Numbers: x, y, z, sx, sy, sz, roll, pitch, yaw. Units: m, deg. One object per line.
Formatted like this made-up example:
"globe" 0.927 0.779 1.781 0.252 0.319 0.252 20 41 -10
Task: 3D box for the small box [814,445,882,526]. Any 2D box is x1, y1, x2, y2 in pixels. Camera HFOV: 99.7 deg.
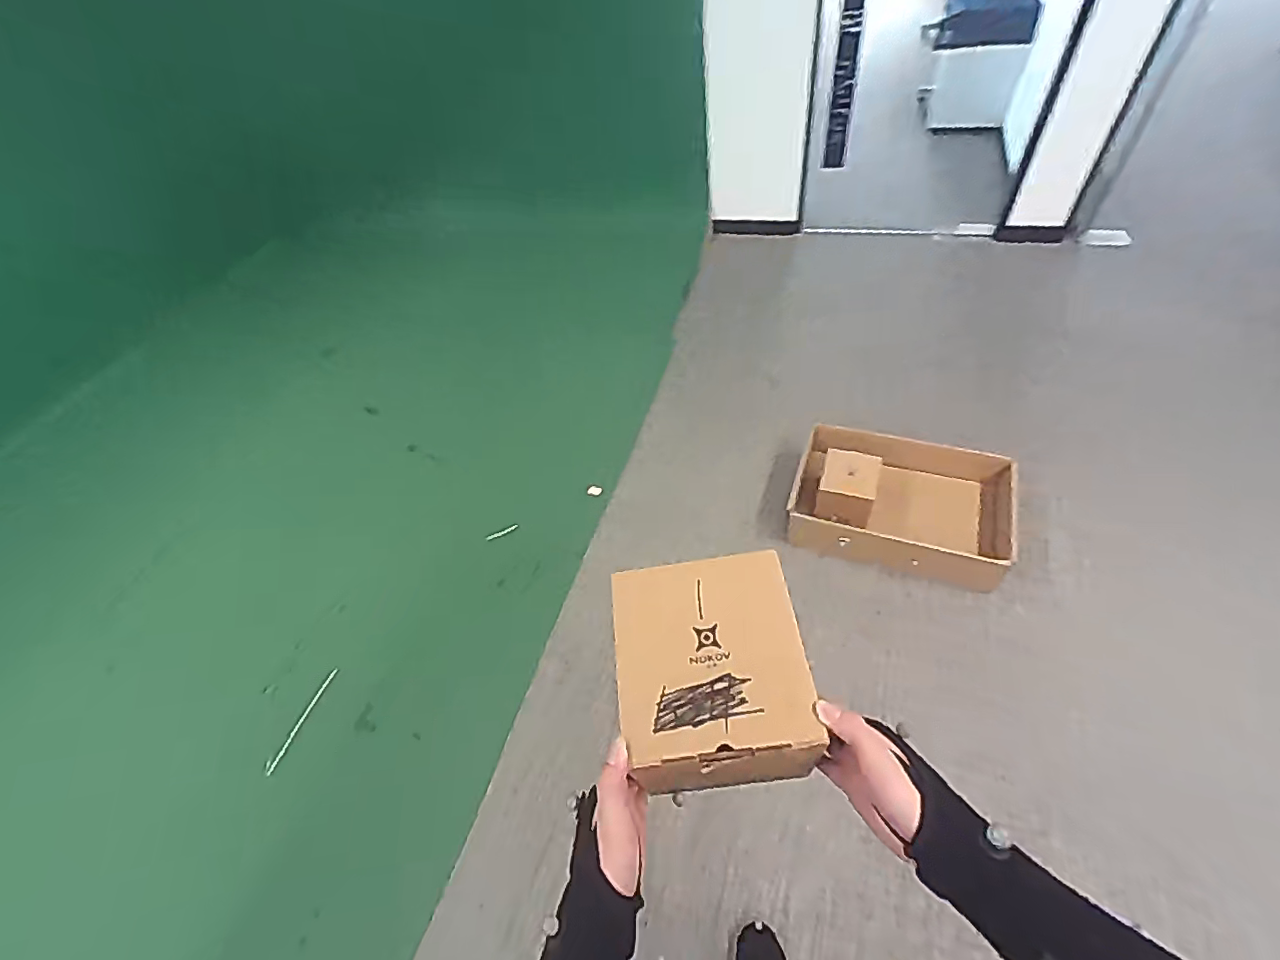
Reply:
"small box" 0.663 0.020 1.738 0.168 0.176 0.179 13 56 19

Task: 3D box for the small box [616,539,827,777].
"small box" 0.073 0.184 0.536 0.168 0.176 0.179 -8 51 4
